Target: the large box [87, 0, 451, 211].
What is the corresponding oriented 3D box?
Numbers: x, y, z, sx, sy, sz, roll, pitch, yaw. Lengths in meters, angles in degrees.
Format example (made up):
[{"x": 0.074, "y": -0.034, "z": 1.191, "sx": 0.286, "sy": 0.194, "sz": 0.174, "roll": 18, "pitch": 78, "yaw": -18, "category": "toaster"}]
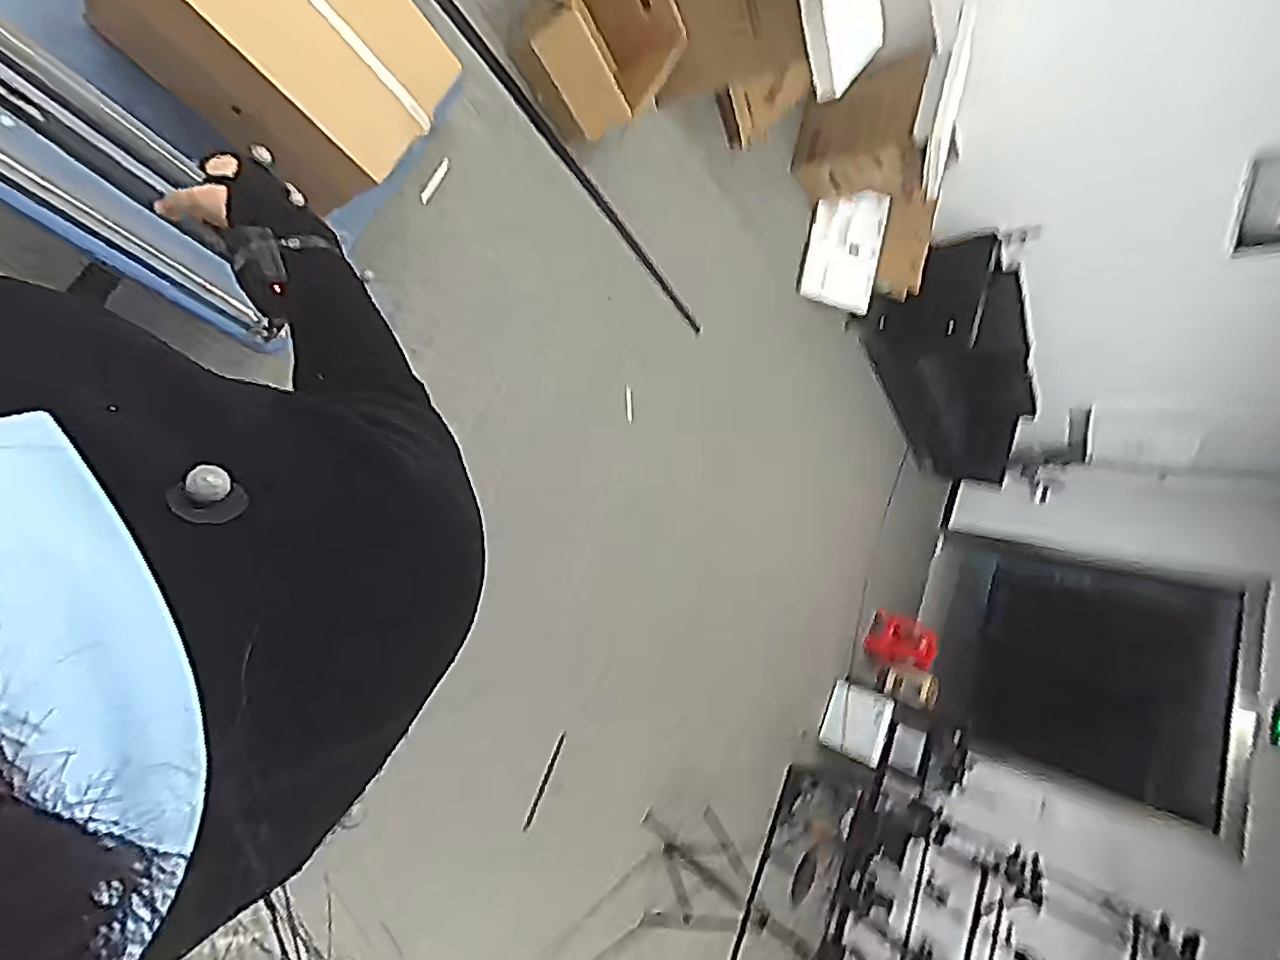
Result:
[{"x": -0.642, "y": -0.777, "z": 0.972, "sx": 0.408, "sy": 0.320, "sz": 0.320, "roll": 40, "pitch": 67, "yaw": -44, "category": "large box"}]
